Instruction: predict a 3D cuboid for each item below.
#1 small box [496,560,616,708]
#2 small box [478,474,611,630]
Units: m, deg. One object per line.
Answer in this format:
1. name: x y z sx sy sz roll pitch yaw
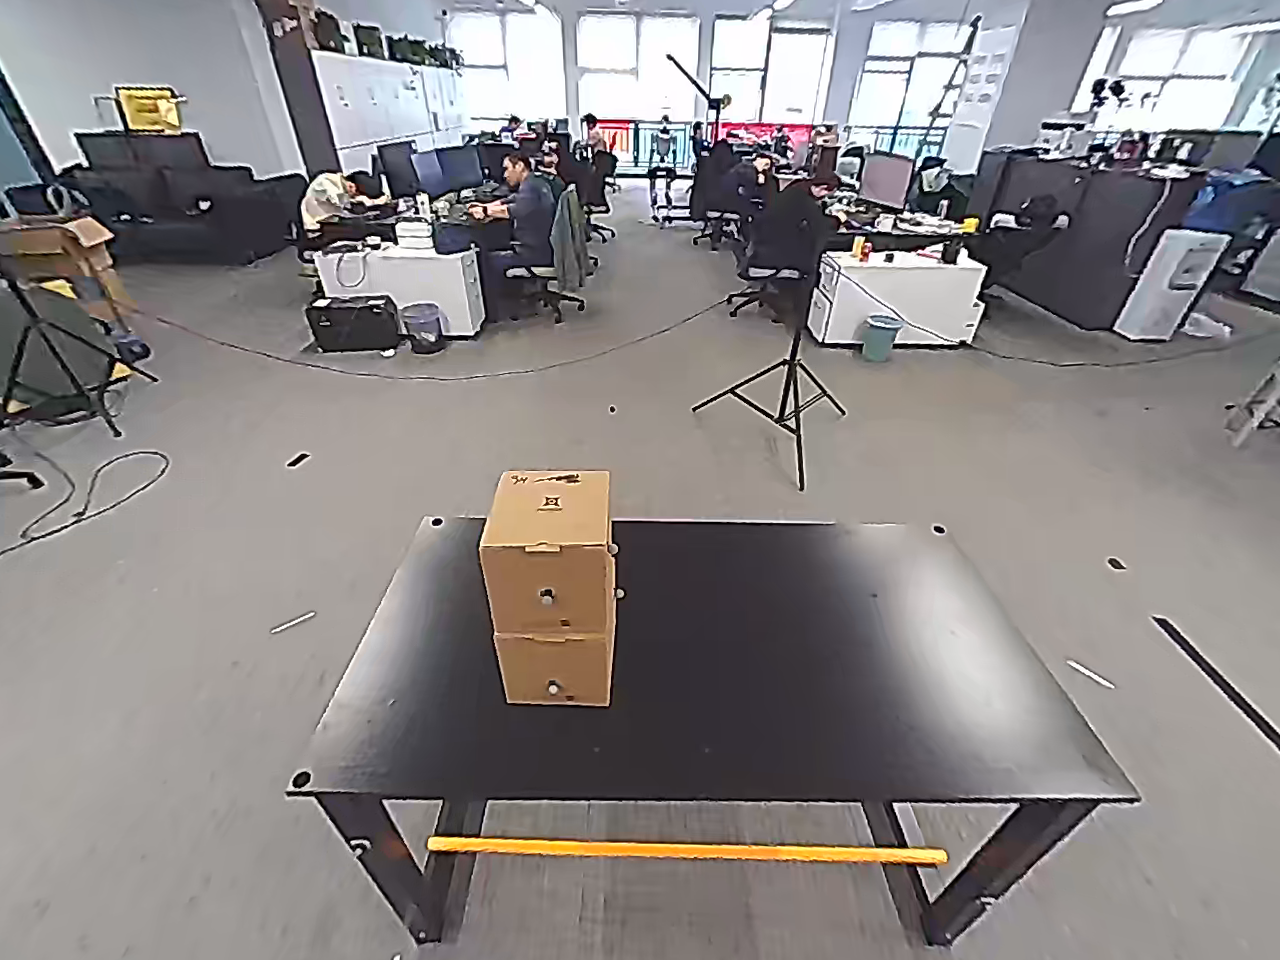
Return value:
1. small box: -0.128 0.248 0.896 0.168 0.176 0.179 1 35 1
2. small box: -0.129 0.108 0.810 0.168 0.176 0.179 0 35 -1
